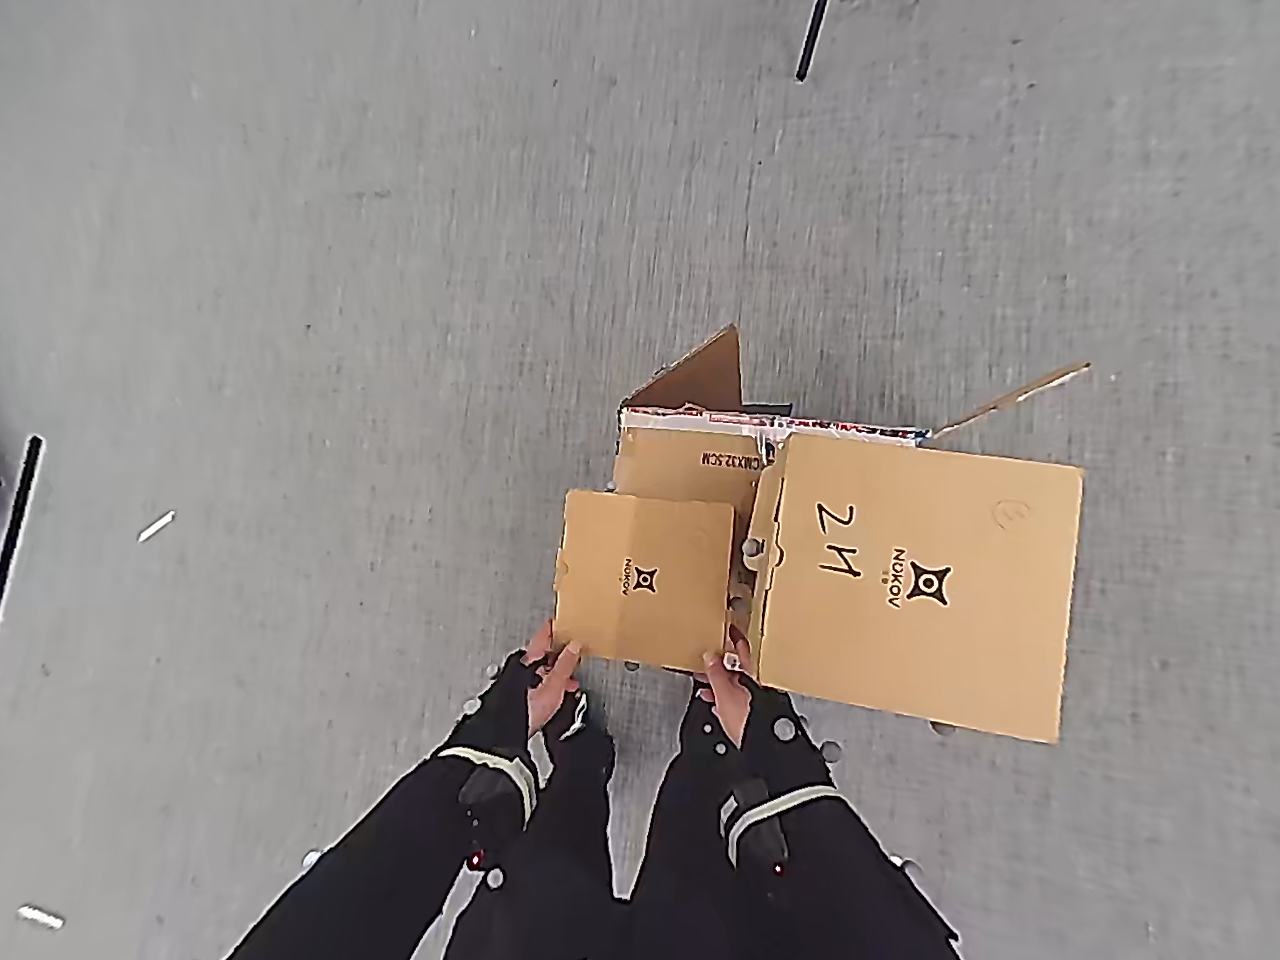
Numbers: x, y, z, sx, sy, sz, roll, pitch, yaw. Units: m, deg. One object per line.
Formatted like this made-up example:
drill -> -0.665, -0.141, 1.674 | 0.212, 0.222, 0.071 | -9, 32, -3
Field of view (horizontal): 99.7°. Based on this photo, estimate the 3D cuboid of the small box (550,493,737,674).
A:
small box -> 0.016, 0.105, 0.612 | 0.179, 0.176, 0.168 | 3, 85, 13

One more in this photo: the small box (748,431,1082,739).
small box -> 0.181, 0.067, 0.411 | 0.179, 0.176, 0.168 | 8, 85, 12
